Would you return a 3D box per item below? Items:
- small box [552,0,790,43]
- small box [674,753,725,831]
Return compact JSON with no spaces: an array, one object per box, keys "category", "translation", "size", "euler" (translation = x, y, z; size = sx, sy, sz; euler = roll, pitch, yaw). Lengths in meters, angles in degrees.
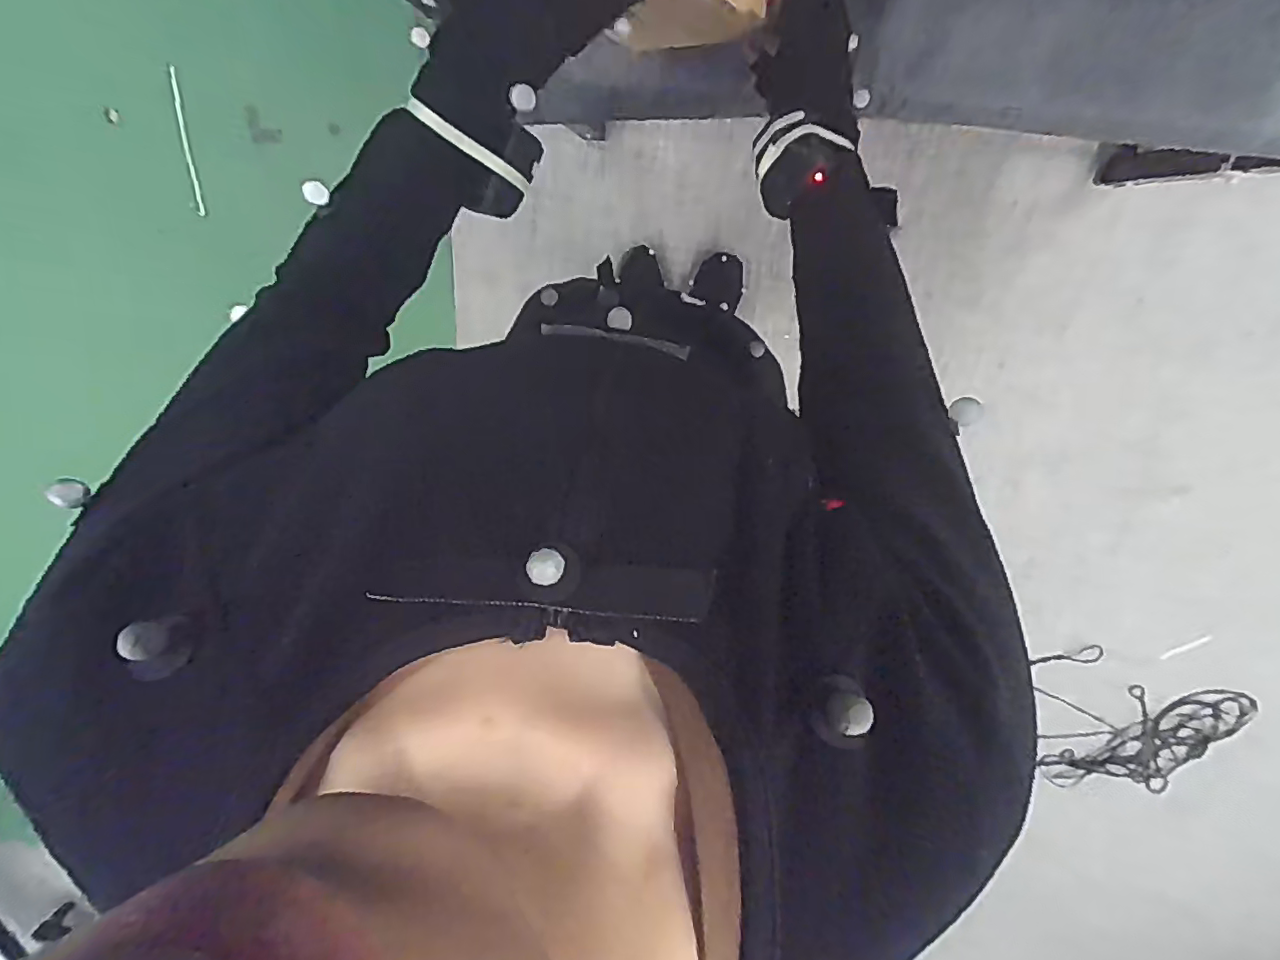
[{"category":"small box","translation":[0.018,-0.467,0.407],"size":[0.176,0.168,0.179],"euler":[25,119,33]},{"category":"small box","translation":[0.216,1.131,1.964],"size":[0.168,0.176,0.179],"euler":[4,114,5]}]
